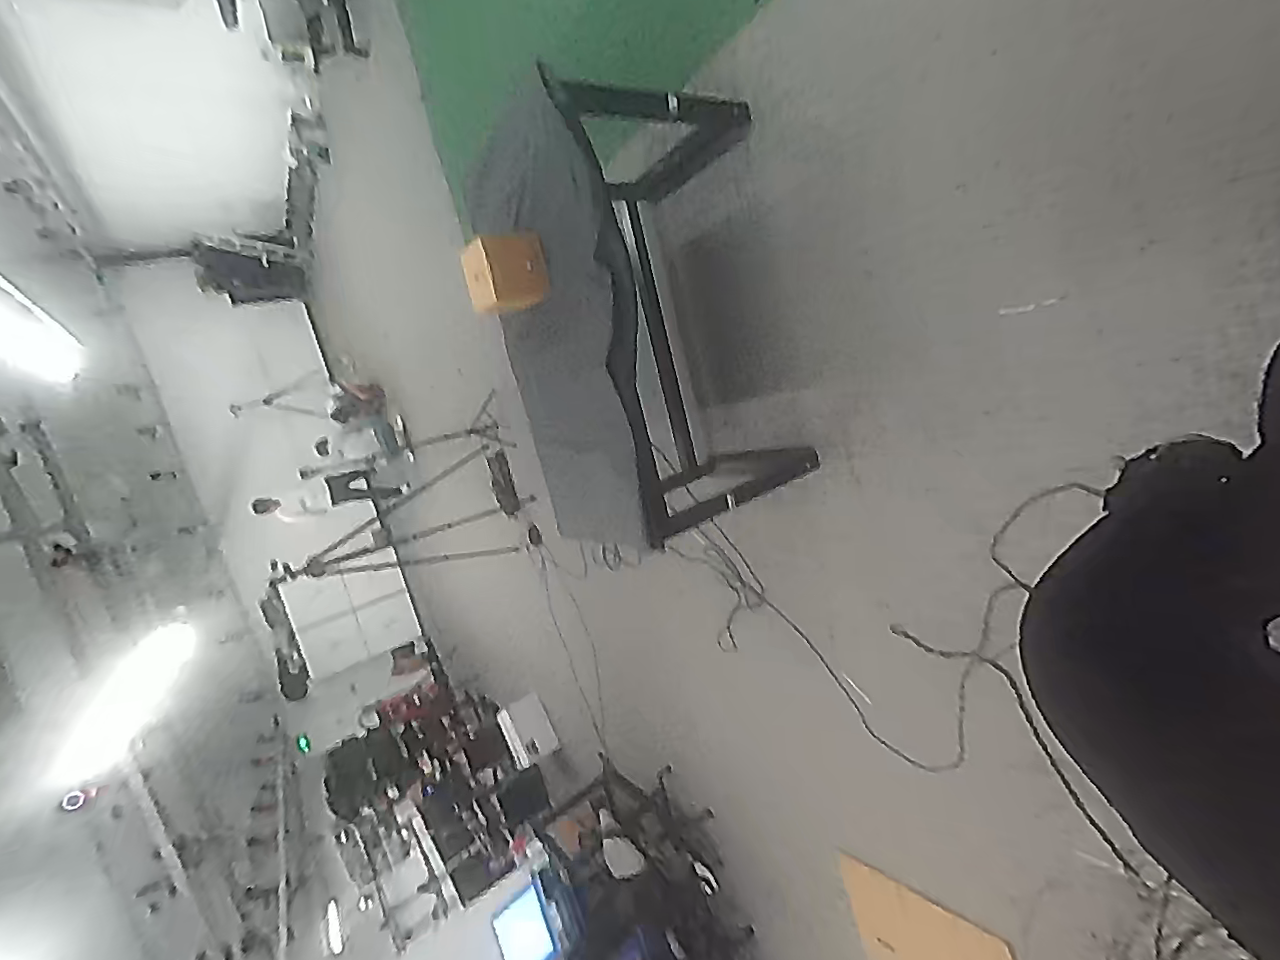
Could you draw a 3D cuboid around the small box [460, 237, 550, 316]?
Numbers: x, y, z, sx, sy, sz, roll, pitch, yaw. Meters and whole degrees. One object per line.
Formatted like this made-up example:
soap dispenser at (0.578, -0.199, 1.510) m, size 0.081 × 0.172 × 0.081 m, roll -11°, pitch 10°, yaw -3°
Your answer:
small box at (-0.375, -0.565, 1.507) m, size 0.179 × 0.176 × 0.168 m, roll 4°, pitch 111°, yaw 54°
